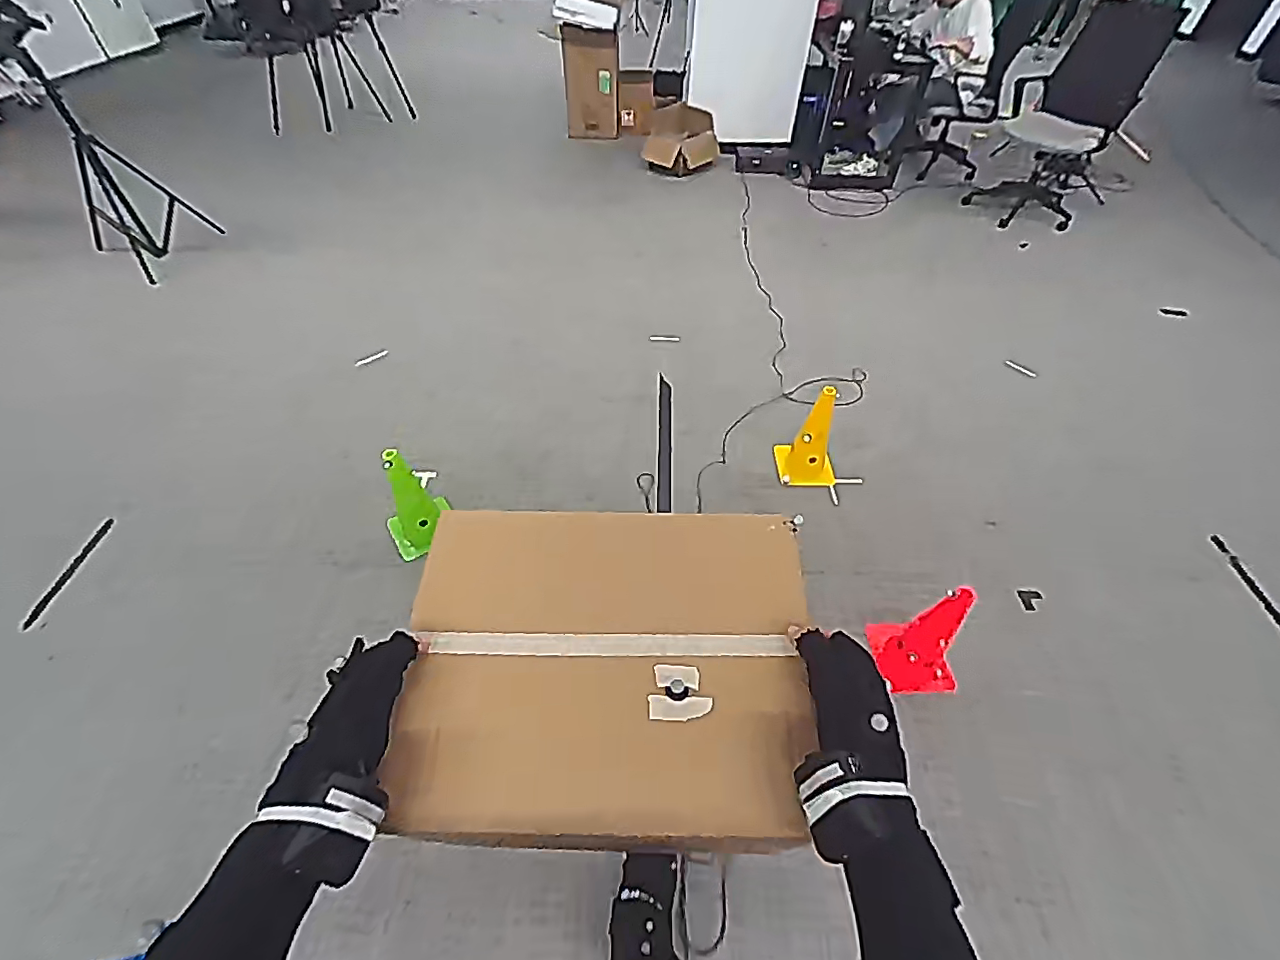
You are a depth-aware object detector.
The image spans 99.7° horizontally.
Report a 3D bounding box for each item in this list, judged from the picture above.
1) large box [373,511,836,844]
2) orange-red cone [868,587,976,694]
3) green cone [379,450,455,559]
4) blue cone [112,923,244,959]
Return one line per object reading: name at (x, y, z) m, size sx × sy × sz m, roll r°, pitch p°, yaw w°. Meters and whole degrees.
large box at (-0.031, 0.251, 0.664) m, size 0.408 × 0.320 × 0.320 m, roll 1°, pitch 54°, yaw 0°
orange-red cone at (0.758, 0.382, 1.387) m, size 0.198 × 0.360 × 0.199 m, roll 0°, pitch 47°, yaw -2°
green cone at (-0.714, 0.042, 1.670) m, size 0.202 × 0.368 × 0.200 m, roll -29°, pitch 54°, yaw -22°
blue cone at (-0.899, 0.884, 0.936) m, size 0.192 × 0.380 × 0.193 m, roll 3°, pitch 48°, yaw 4°
